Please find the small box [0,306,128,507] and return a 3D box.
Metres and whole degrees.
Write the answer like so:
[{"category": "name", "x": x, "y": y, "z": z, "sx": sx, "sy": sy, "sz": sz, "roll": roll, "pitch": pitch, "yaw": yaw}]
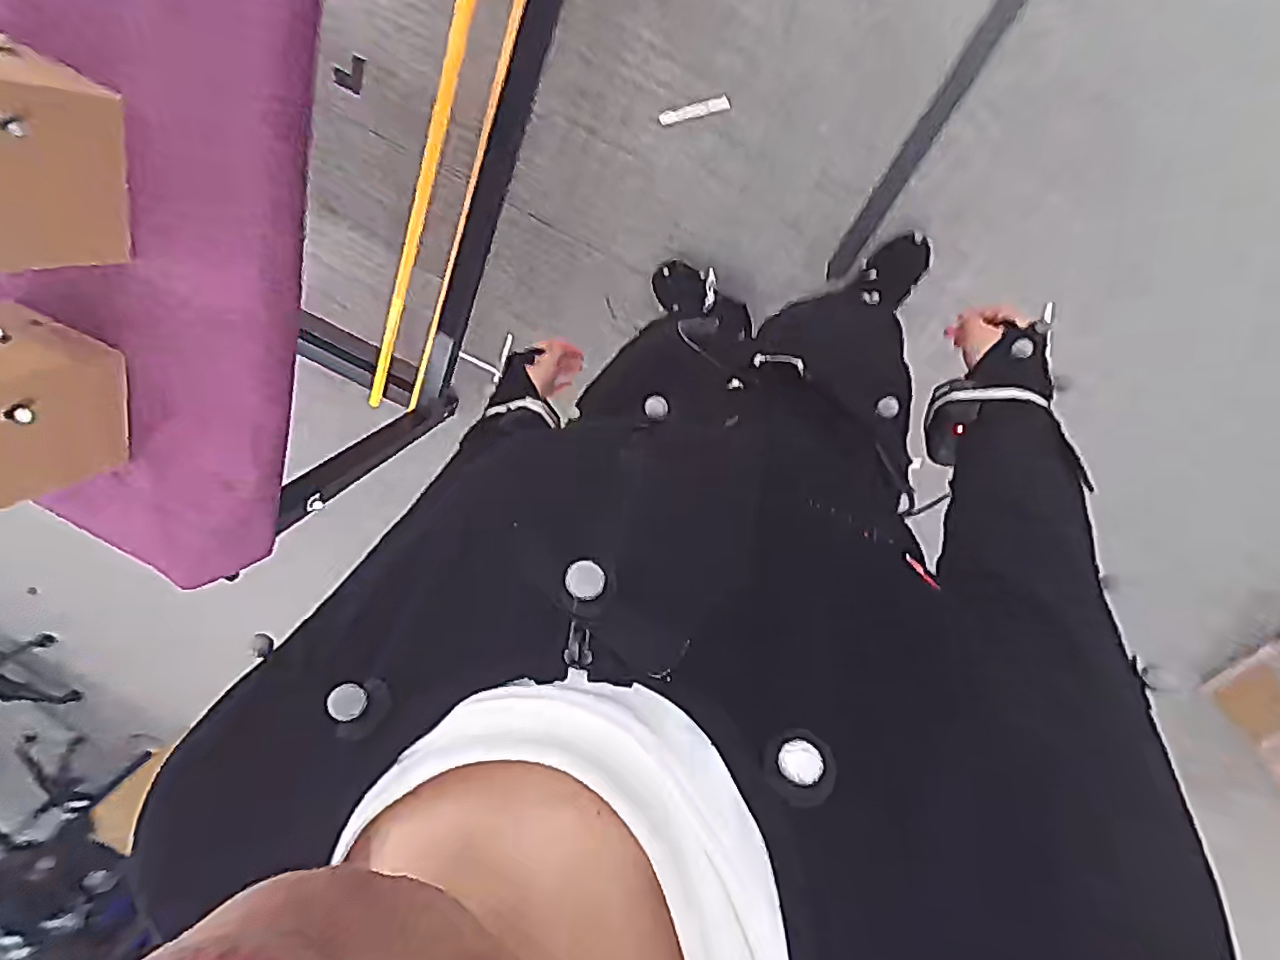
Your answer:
[{"category": "small box", "x": -0.791, "y": -0.099, "z": 0.671, "sx": 0.168, "sy": 0.176, "sz": 0.179, "roll": 25, "pitch": 117, "yaw": 0}]
